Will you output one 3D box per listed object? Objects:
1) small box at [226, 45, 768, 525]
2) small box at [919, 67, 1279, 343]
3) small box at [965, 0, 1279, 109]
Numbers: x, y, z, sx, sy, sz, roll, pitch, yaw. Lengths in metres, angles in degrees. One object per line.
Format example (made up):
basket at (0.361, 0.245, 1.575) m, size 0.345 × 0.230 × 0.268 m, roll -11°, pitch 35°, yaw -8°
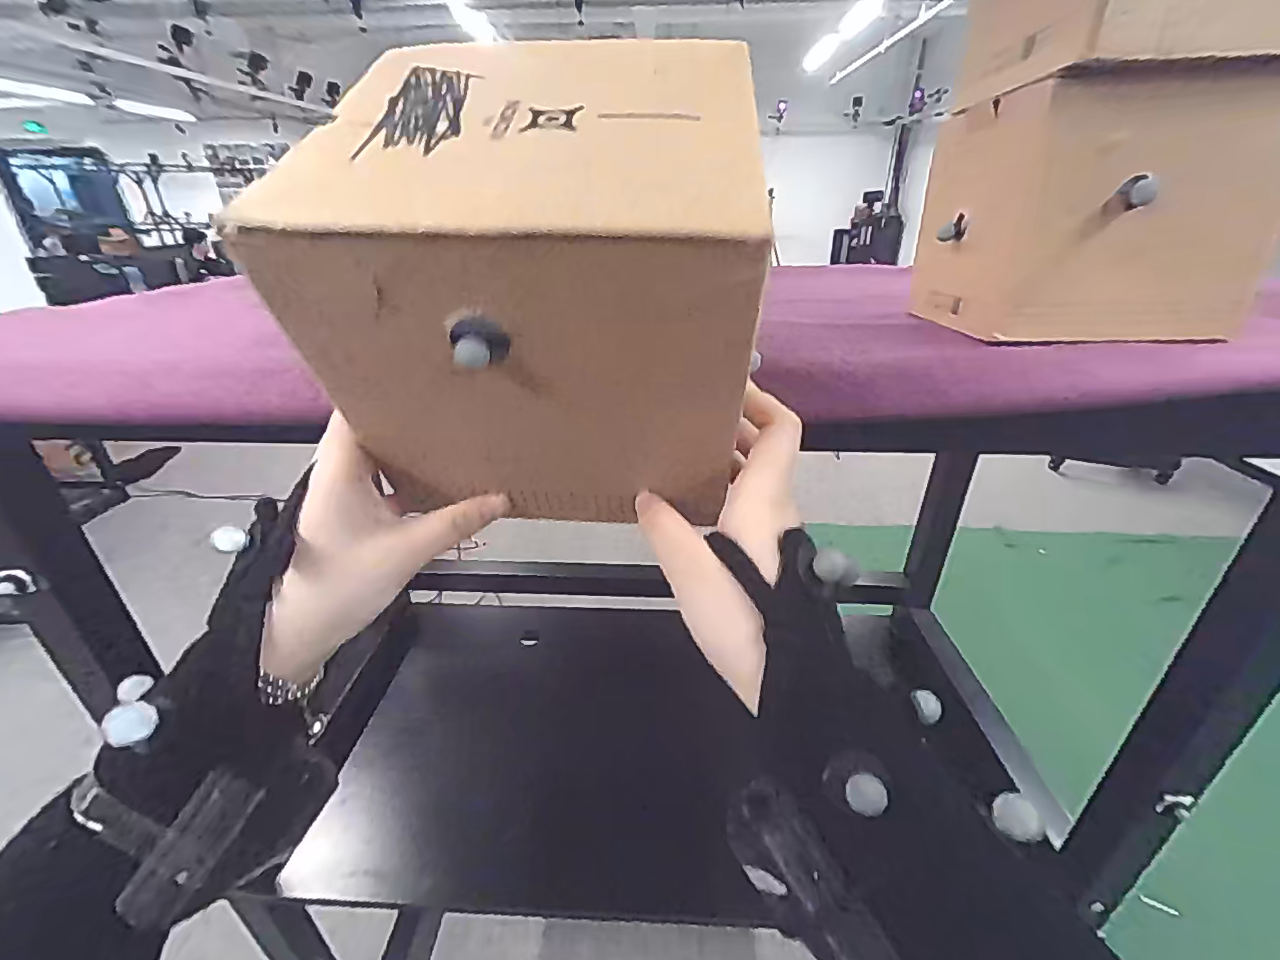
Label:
small box at (-0.038, -0.089, 0.276) m, size 0.179 × 0.176 × 0.168 m, roll 3°, pitch 56°, yaw 3°
small box at (0.348, -0.209, 0.437) m, size 0.179 × 0.176 × 0.168 m, roll 0°, pitch 26°, yaw 4°
small box at (0.344, -0.351, 0.355) m, size 0.179 × 0.176 × 0.168 m, roll 0°, pitch 25°, yaw 3°
